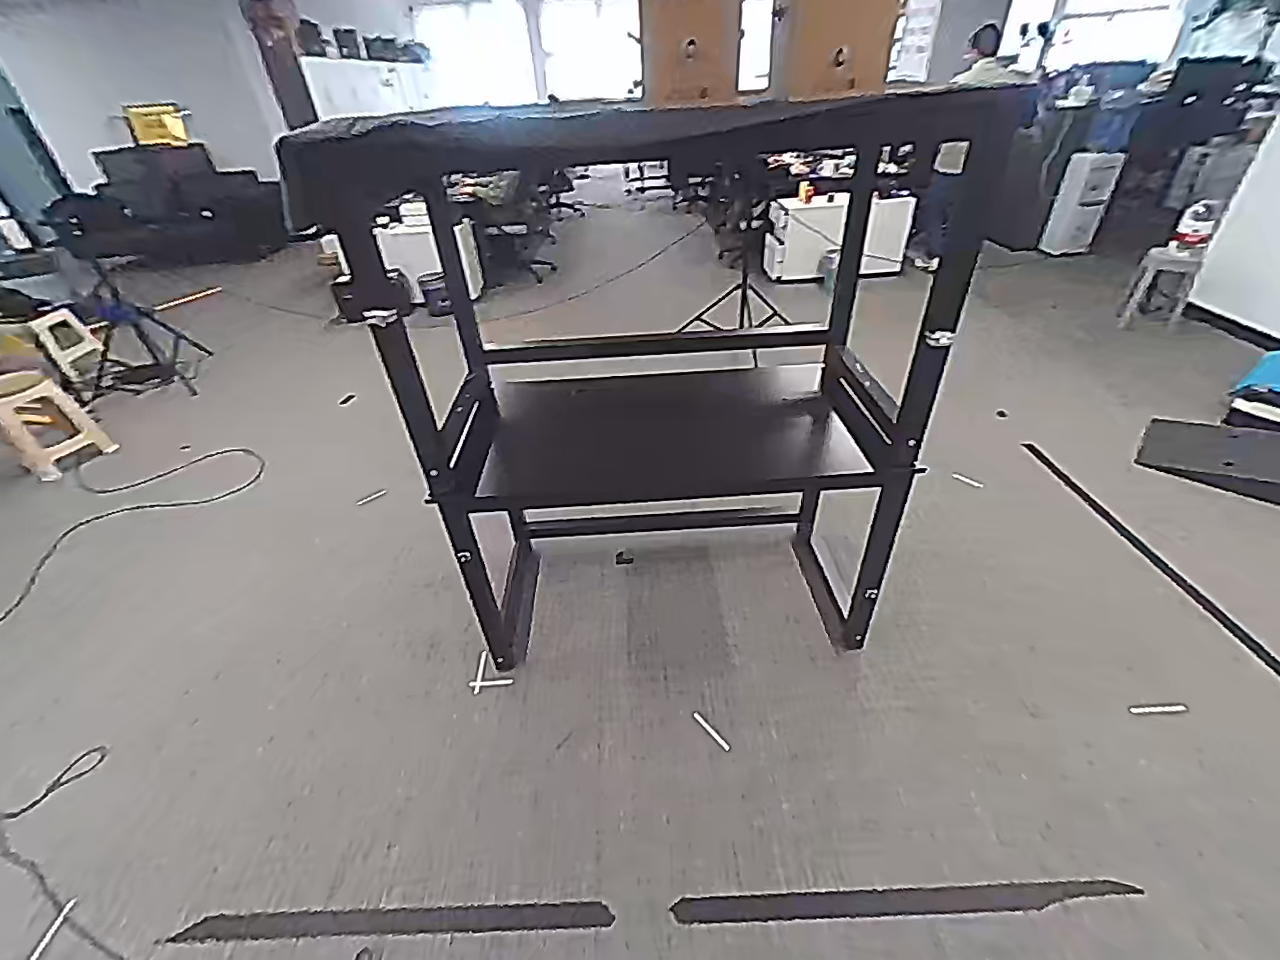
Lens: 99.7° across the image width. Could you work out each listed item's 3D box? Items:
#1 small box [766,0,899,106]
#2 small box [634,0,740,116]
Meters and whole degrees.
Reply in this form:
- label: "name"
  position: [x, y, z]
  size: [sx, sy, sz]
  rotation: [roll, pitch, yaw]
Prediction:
- label: "small box"
  position: [0.316, -0.743, 0.919]
  size: [0.168, 0.176, 0.179]
  rotation: [-4, 36, 2]
- label: "small box"
  position: [0.079, -0.730, 0.925]
  size: [0.168, 0.176, 0.179]
  rotation: [-2, 36, 2]
